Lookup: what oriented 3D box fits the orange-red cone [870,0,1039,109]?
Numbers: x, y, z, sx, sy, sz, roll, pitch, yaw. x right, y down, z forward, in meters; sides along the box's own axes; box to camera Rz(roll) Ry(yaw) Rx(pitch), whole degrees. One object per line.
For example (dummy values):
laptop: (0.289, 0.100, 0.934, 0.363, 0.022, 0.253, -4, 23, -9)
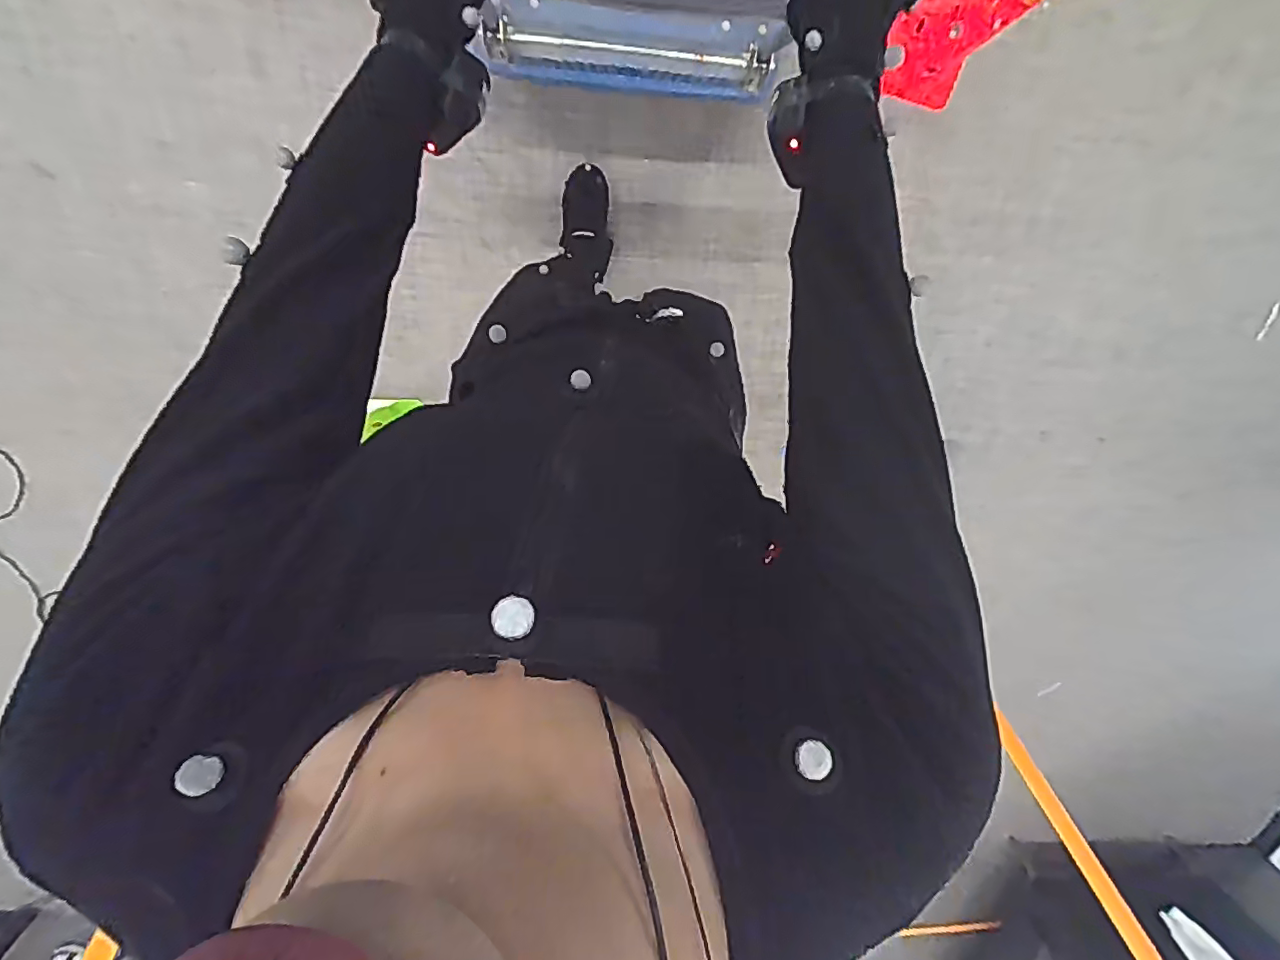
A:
orange-red cone: (0.621, -0.854, 1.007, 0.198, 0.360, 0.199, 12, 117, -8)
